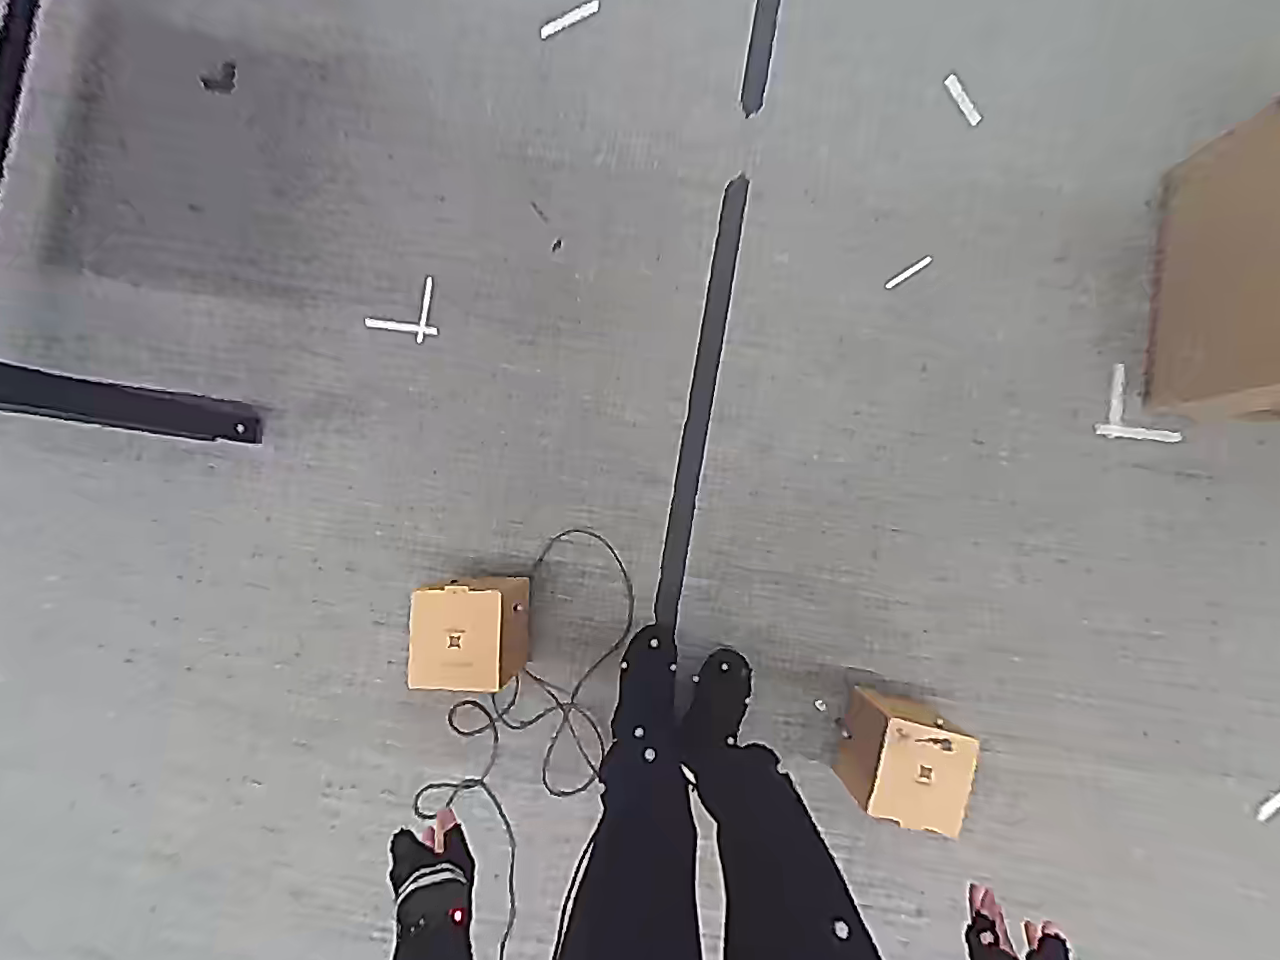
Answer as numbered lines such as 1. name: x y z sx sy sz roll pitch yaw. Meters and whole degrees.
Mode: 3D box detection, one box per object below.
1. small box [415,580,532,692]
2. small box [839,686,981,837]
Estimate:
1. small box: -0.308 0.286 1.025 0.168 0.176 0.179 -2 88 5
2. small box: 0.493 0.517 1.017 0.168 0.176 0.179 14 88 1
